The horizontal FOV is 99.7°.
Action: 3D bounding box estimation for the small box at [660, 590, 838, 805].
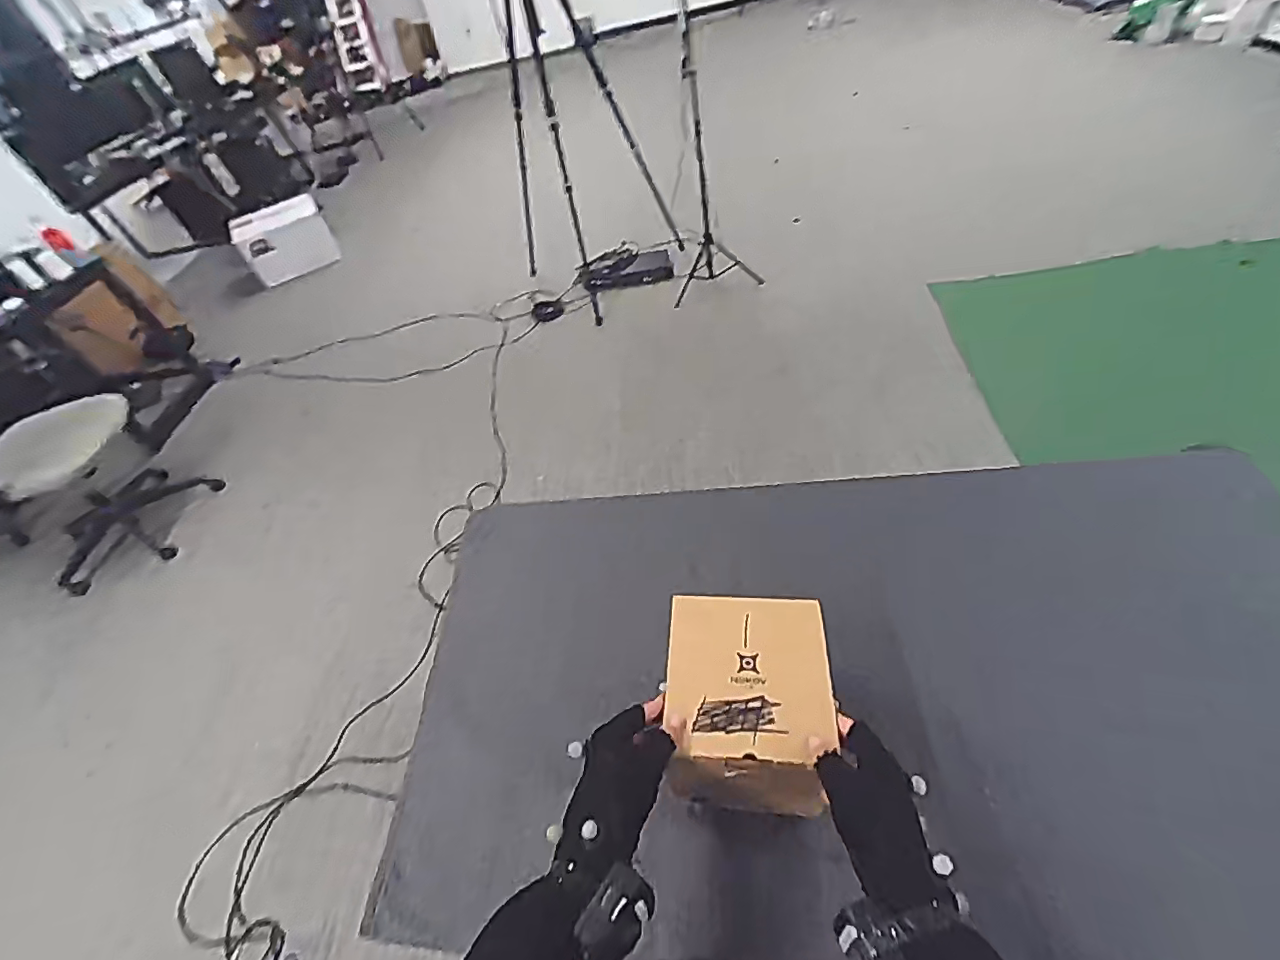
[{"bbox_3d":[0.119,0.246,0.610,0.168,0.176,0.179,1,46,9],"label":"small box"}]
